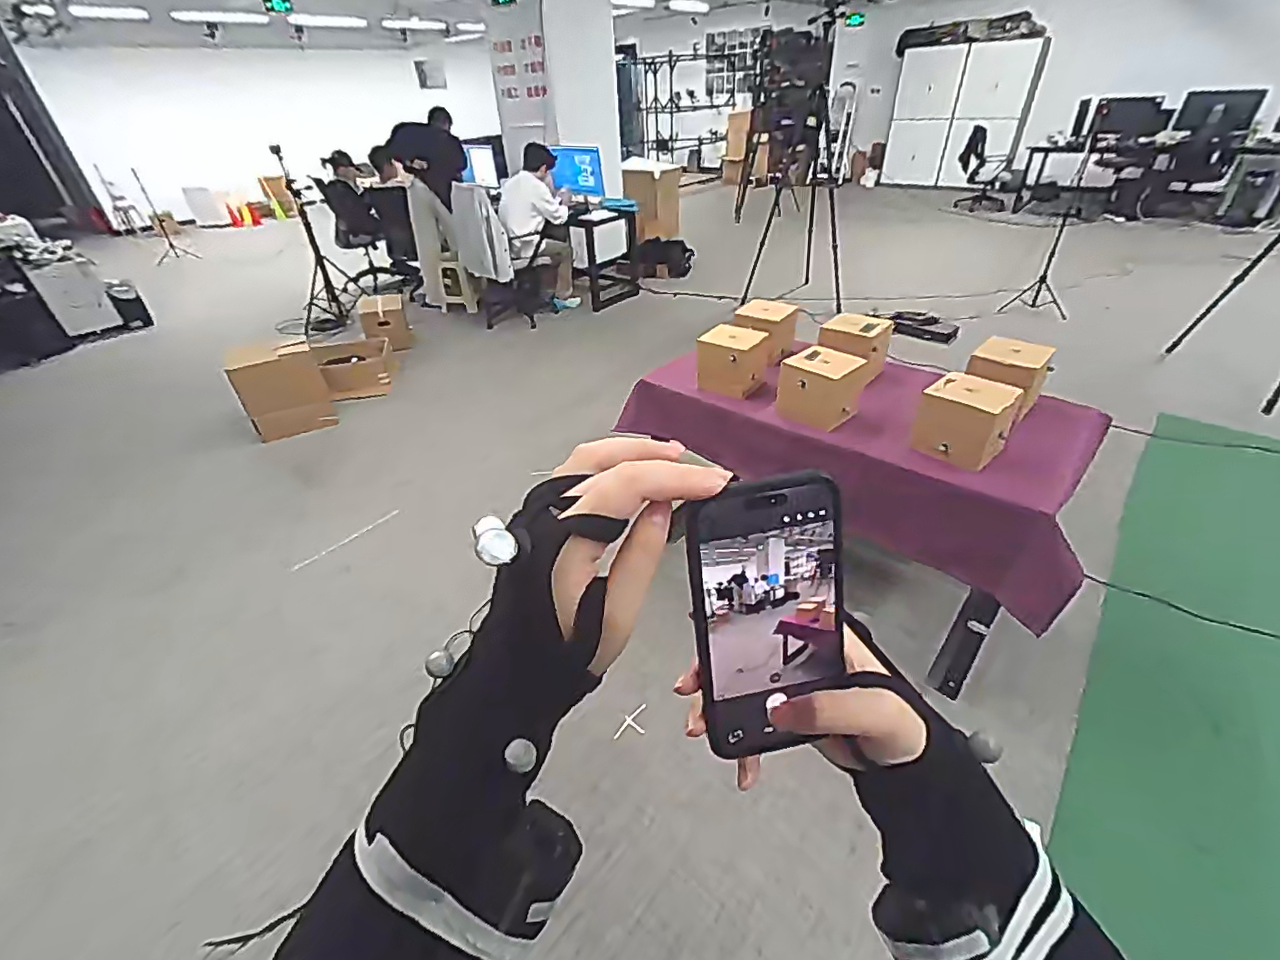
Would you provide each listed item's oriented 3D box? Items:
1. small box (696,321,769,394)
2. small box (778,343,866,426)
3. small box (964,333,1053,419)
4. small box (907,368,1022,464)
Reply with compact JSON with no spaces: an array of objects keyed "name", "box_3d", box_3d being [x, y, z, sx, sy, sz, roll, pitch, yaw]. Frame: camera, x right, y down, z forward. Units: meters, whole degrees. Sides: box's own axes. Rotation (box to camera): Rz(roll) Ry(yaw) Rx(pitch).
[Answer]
[{"name":"small box","box_3d":[0.293,-0.394,1.744,0.179,0.176,0.168,22,42,29]},{"name":"small box","box_3d":[0.518,-0.276,1.560,0.168,0.176,0.179,-30,44,-32]},{"name":"small box","box_3d":[1.036,-0.299,1.548,0.179,0.176,0.168,-33,44,-33]},{"name":"small box","box_3d":[0.816,-0.159,1.374,0.168,0.176,0.179,-29,43,-31]}]
